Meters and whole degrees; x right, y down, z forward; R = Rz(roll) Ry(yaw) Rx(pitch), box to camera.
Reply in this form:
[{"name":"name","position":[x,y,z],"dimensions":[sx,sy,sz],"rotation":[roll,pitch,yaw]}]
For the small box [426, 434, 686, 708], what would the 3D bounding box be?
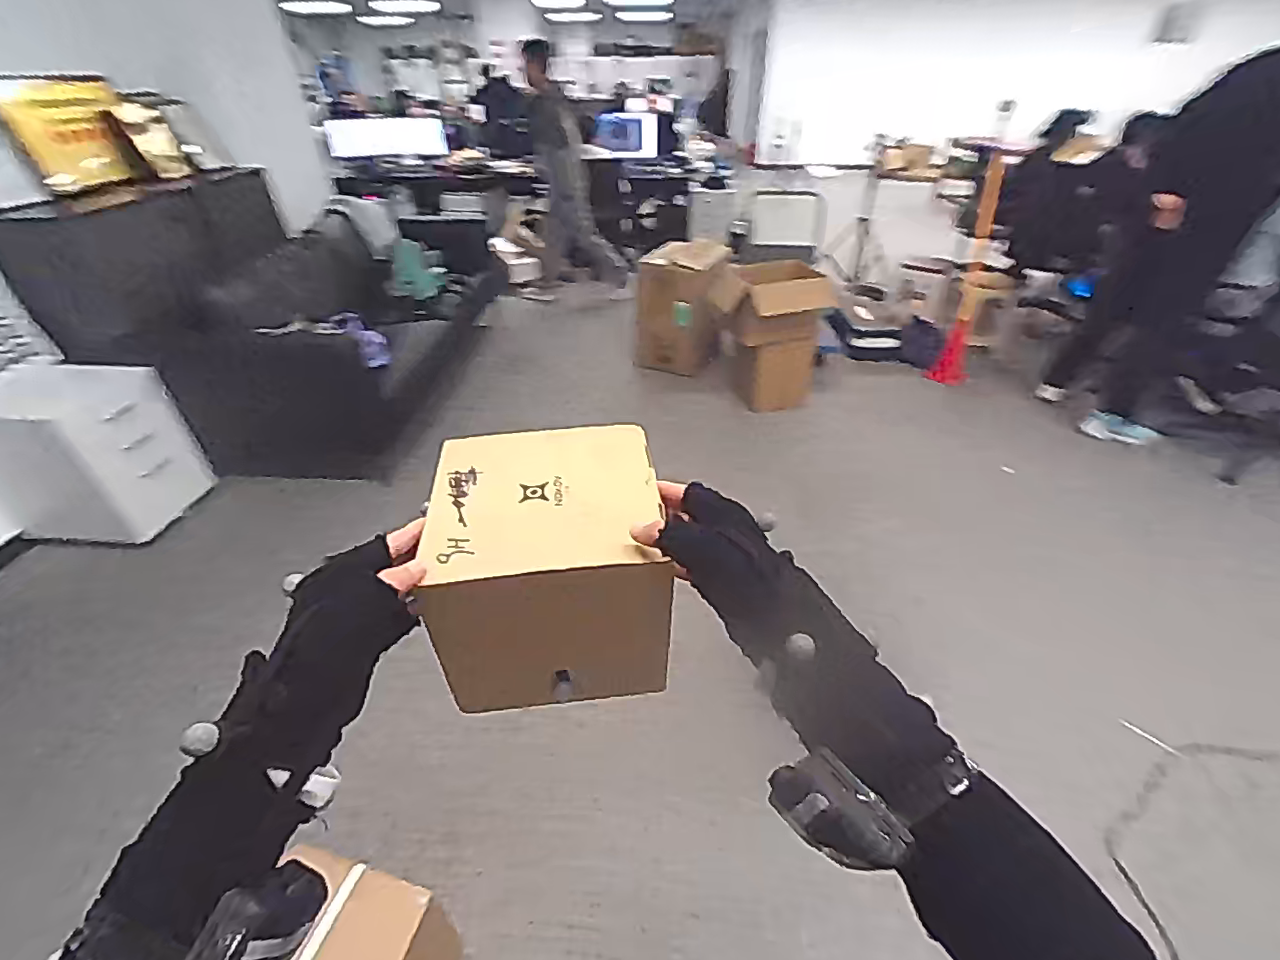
[{"name":"small box","position":[-0.065,0.077,0.472],"dimensions":[0.179,0.176,0.168],"rotation":[-3,38,-6]}]
